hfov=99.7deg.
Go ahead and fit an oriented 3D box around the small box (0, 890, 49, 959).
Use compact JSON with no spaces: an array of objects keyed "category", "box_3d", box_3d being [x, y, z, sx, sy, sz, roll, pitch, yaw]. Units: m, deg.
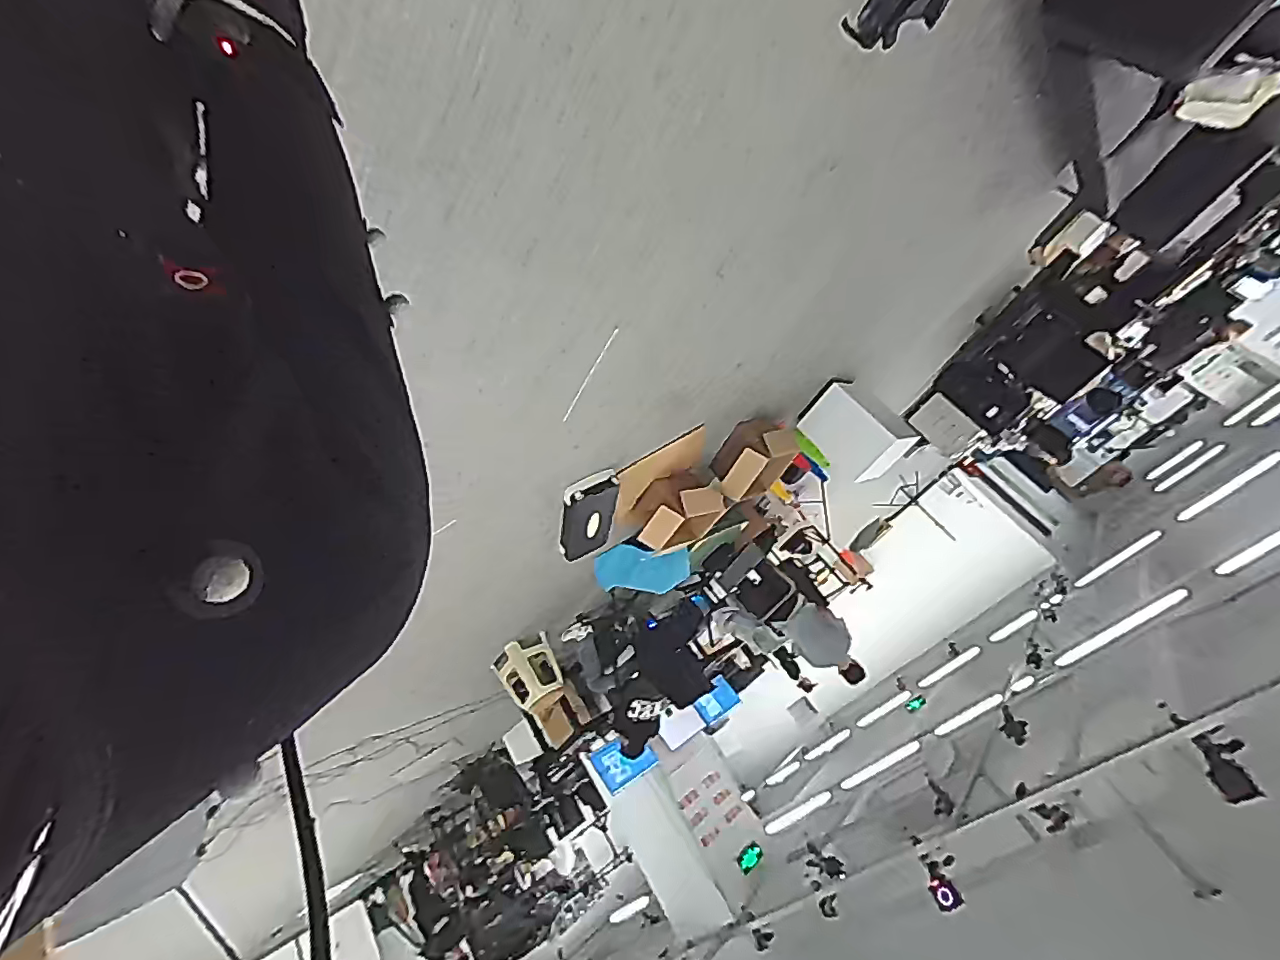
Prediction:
[{"category":"small box","box_3d":[-1.335,0.986,1.093,0.179,0.176,0.168,-10,145,-47]}]
